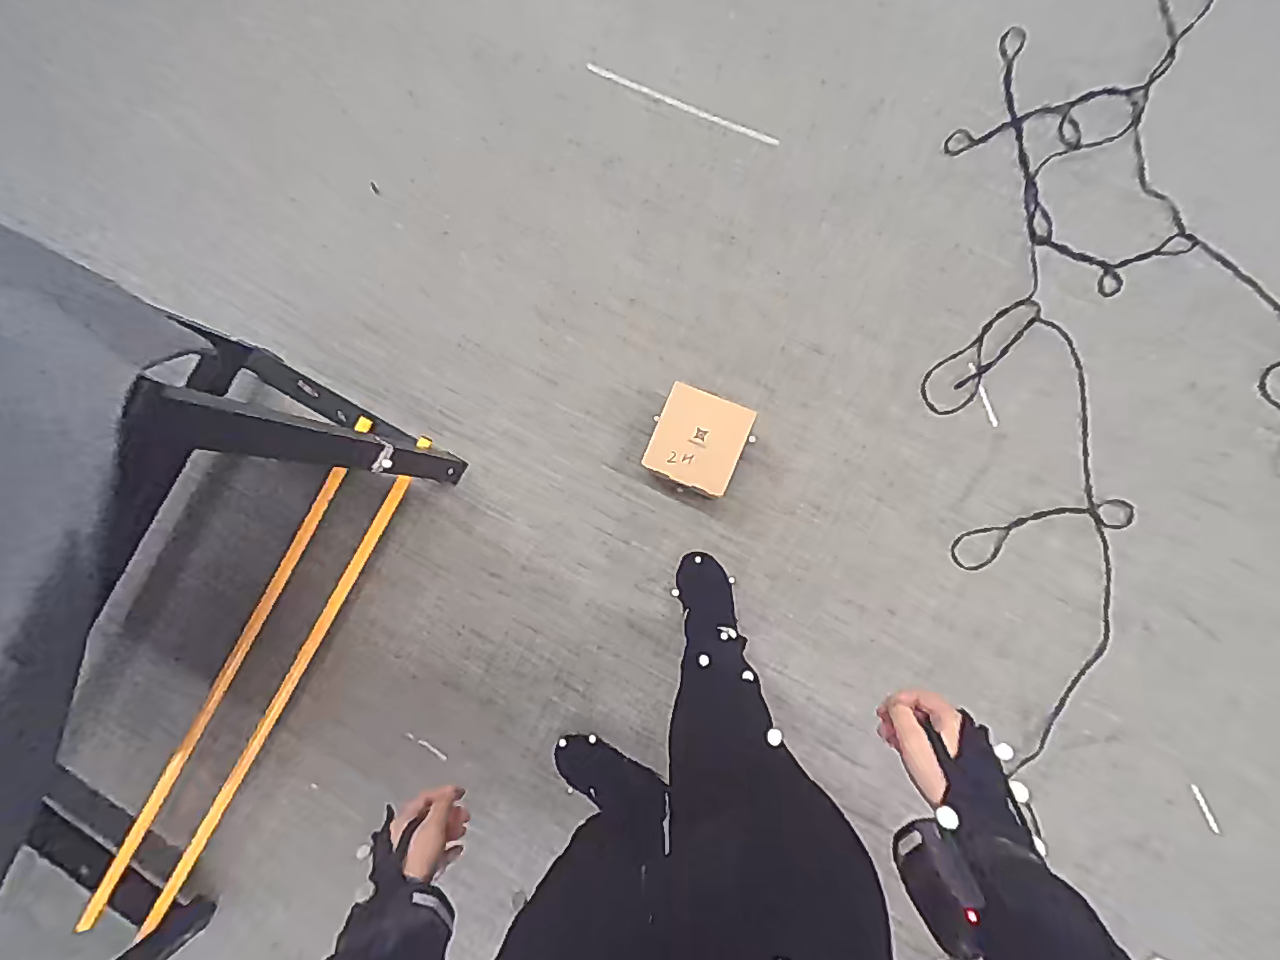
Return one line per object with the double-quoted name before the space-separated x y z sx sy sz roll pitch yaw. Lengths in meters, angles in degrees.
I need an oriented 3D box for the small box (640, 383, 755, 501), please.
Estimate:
"small box" 0.112 -0.068 1.082 0.168 0.176 0.179 23 88 7
